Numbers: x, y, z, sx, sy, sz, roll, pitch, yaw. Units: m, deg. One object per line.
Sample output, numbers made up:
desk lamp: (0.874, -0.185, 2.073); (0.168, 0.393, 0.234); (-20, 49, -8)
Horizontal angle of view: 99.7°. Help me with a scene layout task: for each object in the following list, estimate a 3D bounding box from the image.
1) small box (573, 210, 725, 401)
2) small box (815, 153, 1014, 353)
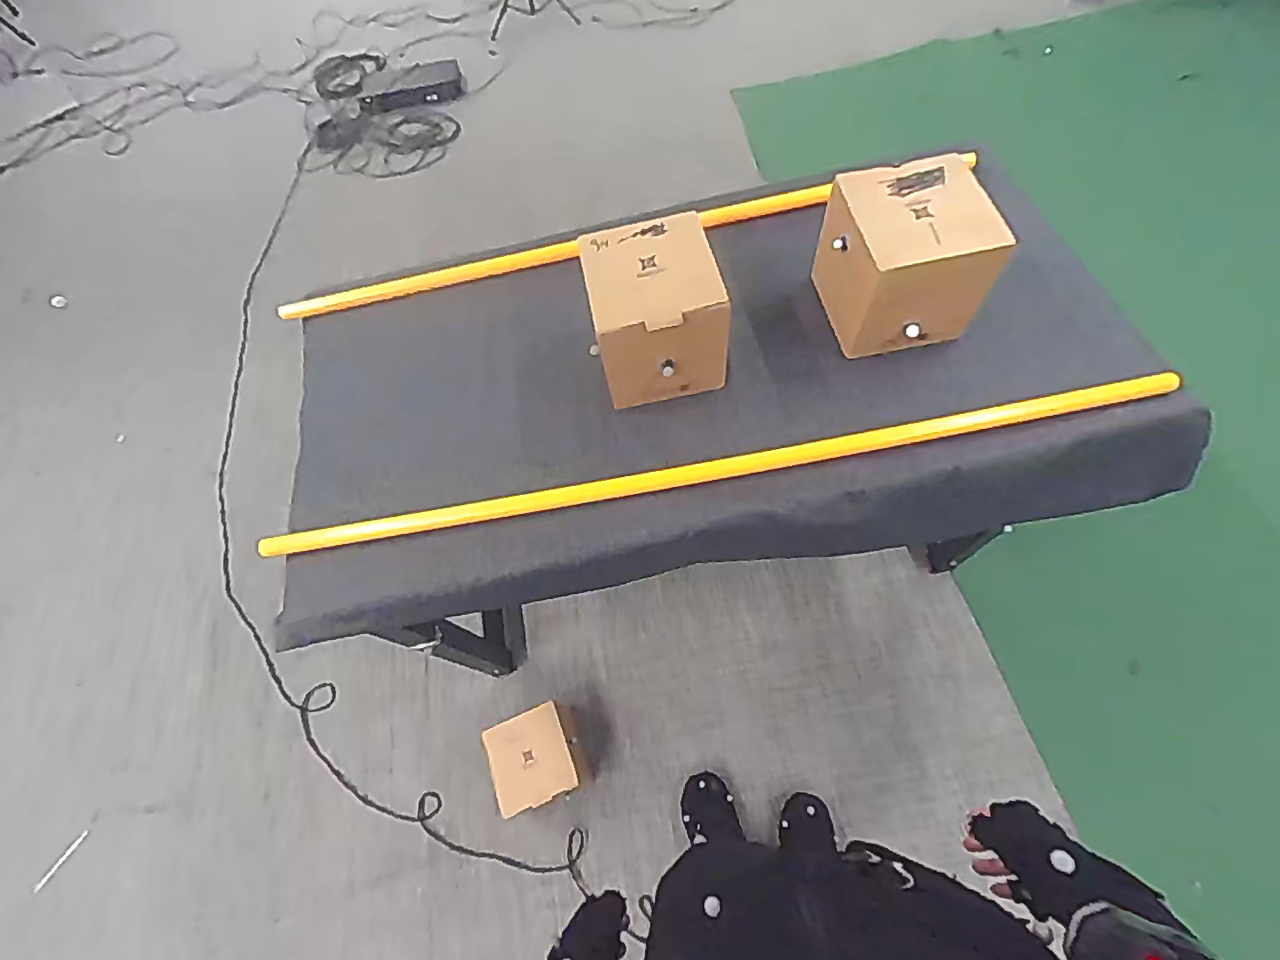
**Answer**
small box: (0.018, -0.231, 0.755); (0.168, 0.176, 0.179); (-16, 62, 1)
small box: (0.356, -0.306, 0.746); (0.168, 0.176, 0.179); (-11, 64, 2)
